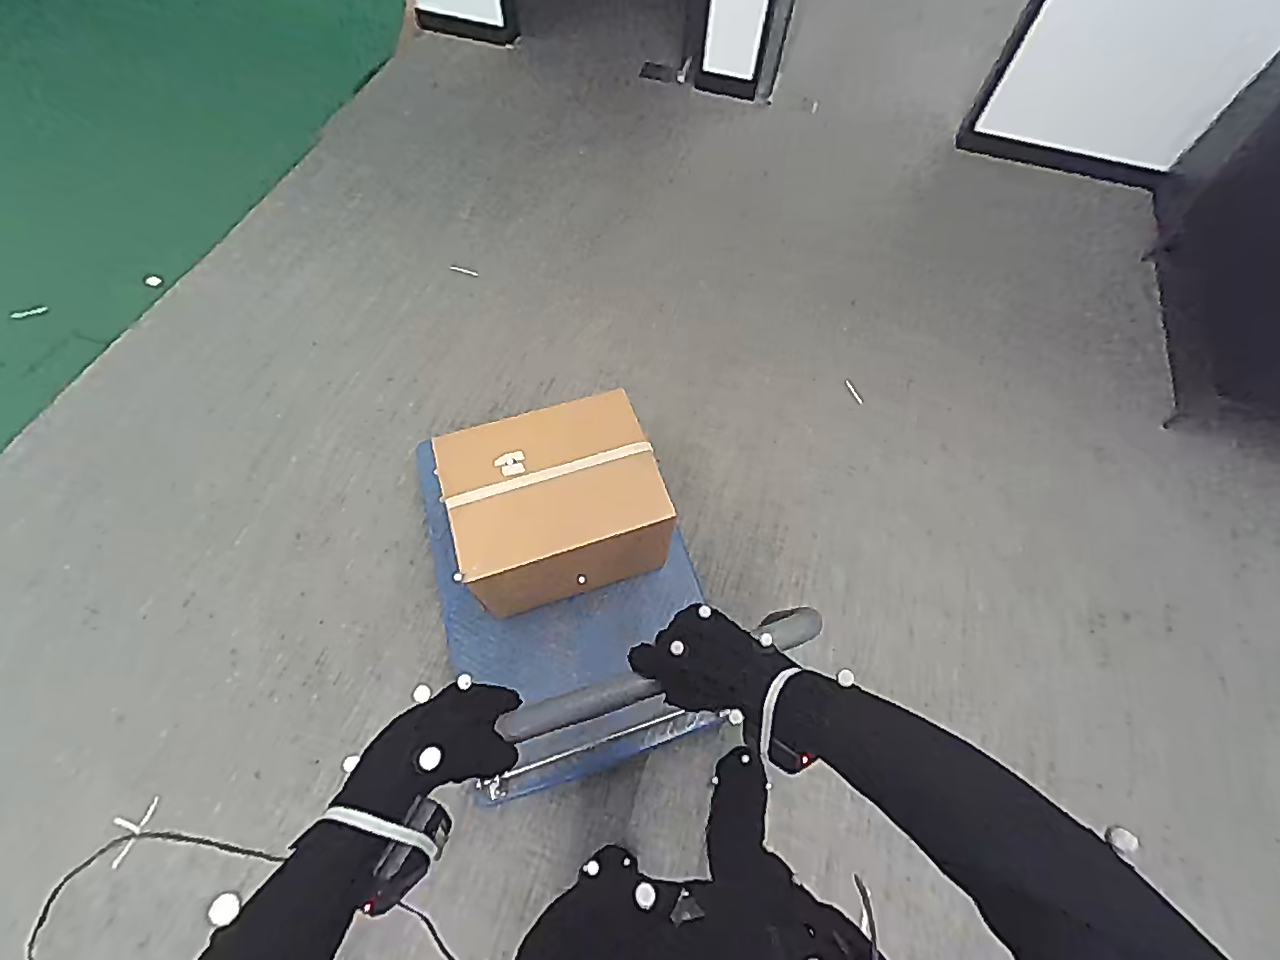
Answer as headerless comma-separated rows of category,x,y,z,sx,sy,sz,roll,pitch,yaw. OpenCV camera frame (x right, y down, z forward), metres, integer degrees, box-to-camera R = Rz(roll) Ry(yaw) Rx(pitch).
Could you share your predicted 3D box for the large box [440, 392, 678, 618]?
large box,-0.165,0.065,1.184,0.408,0.320,0.320,-18,65,-10
